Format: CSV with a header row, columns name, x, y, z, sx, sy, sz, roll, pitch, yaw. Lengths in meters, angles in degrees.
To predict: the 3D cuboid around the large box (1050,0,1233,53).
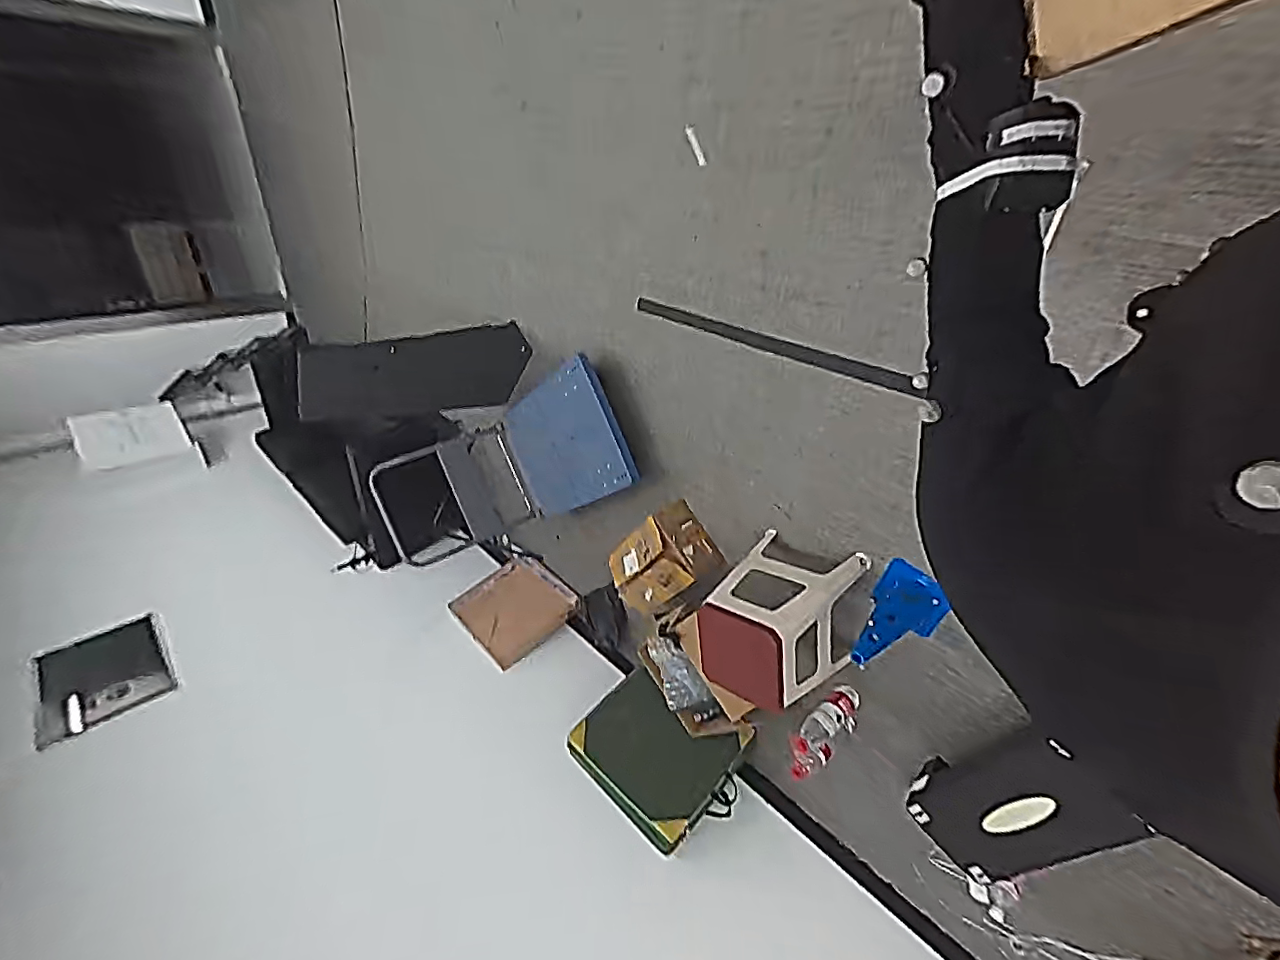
name,x,y,z,sx,sy,sz,roll,pitch,yaw
large box,0.467,-0.497,0.269,0.408,0.320,0.320,3,122,47
